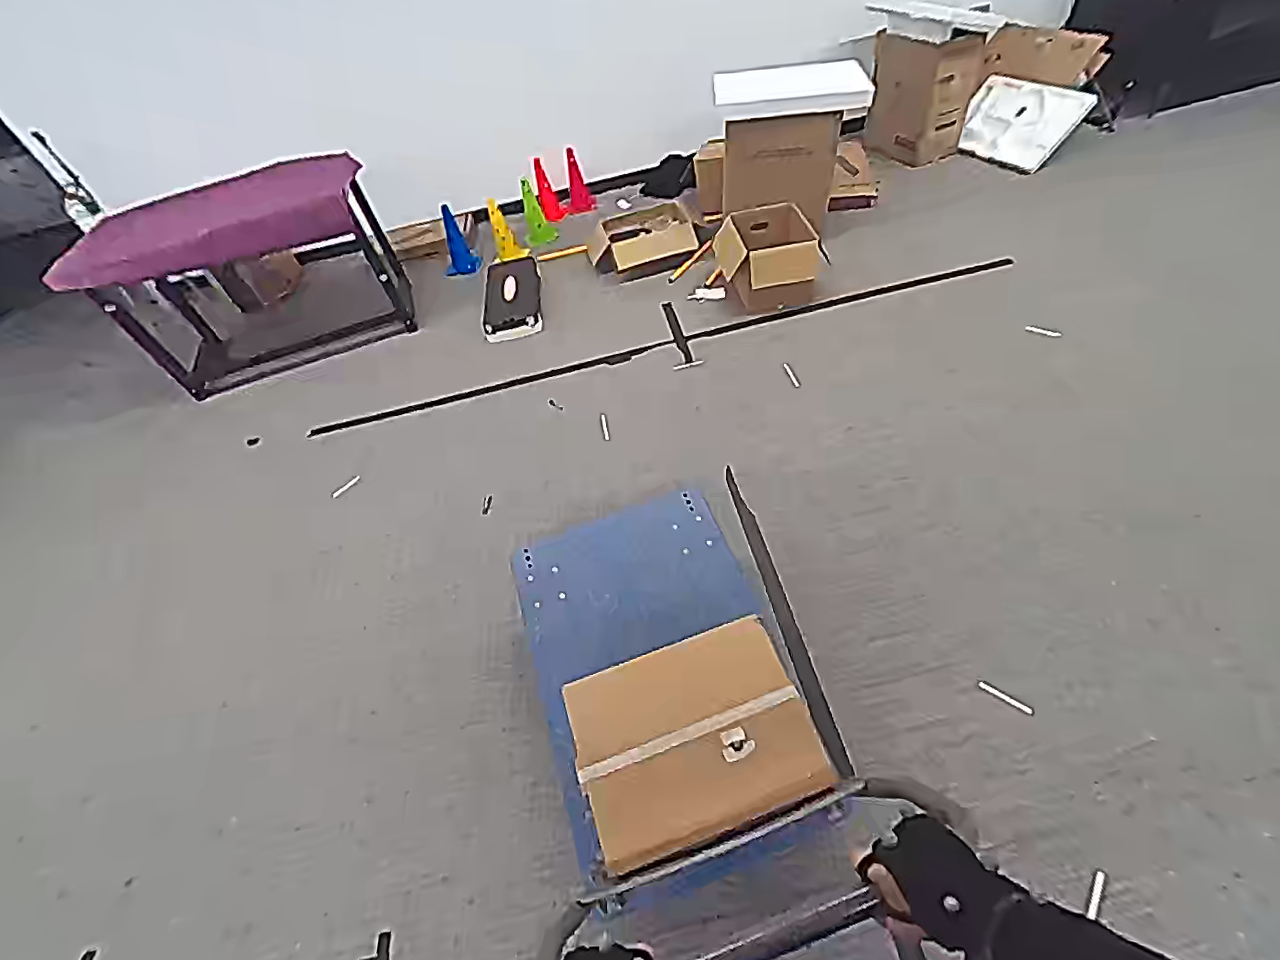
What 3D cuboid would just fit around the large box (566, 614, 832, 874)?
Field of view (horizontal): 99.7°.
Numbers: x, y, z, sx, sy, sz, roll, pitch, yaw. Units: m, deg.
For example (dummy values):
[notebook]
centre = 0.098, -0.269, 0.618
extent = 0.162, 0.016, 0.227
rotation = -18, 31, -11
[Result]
[large box]
centre = 0.104, 0.532, 1.095
extent = 0.408, 0.320, 0.320
rotation = -19, 58, -7
